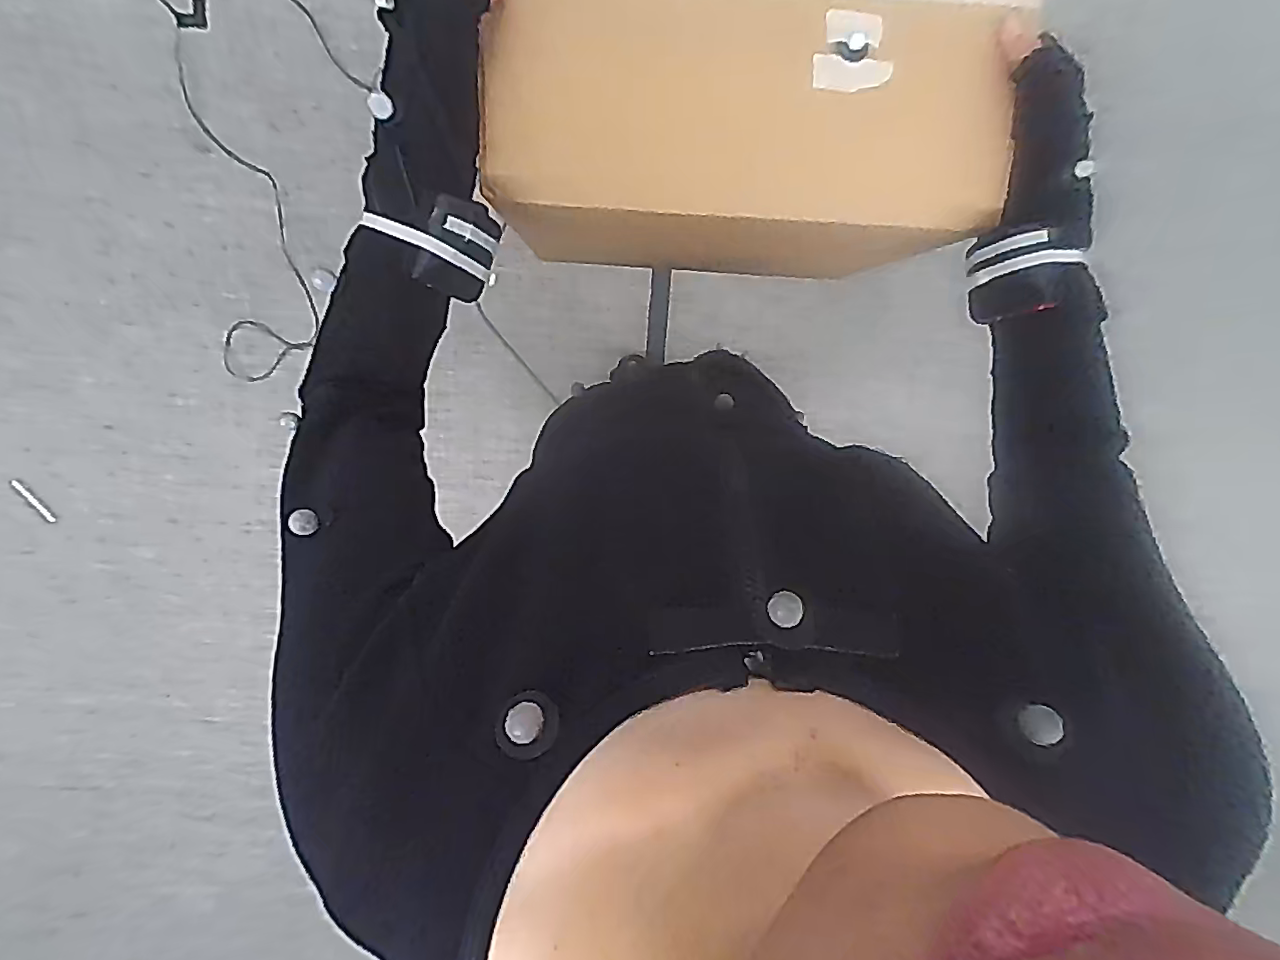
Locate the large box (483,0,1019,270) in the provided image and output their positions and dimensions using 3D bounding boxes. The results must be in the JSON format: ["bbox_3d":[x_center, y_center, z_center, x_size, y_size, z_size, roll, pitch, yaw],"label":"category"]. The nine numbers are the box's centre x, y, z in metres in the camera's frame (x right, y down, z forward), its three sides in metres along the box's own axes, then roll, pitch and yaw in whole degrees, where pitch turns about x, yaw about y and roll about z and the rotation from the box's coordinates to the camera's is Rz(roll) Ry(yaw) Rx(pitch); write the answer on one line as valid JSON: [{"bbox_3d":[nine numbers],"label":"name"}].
[{"bbox_3d":[0.077,-0.399,0.536,0.408,0.320,0.320,2,104,-3],"label":"large box"}]
